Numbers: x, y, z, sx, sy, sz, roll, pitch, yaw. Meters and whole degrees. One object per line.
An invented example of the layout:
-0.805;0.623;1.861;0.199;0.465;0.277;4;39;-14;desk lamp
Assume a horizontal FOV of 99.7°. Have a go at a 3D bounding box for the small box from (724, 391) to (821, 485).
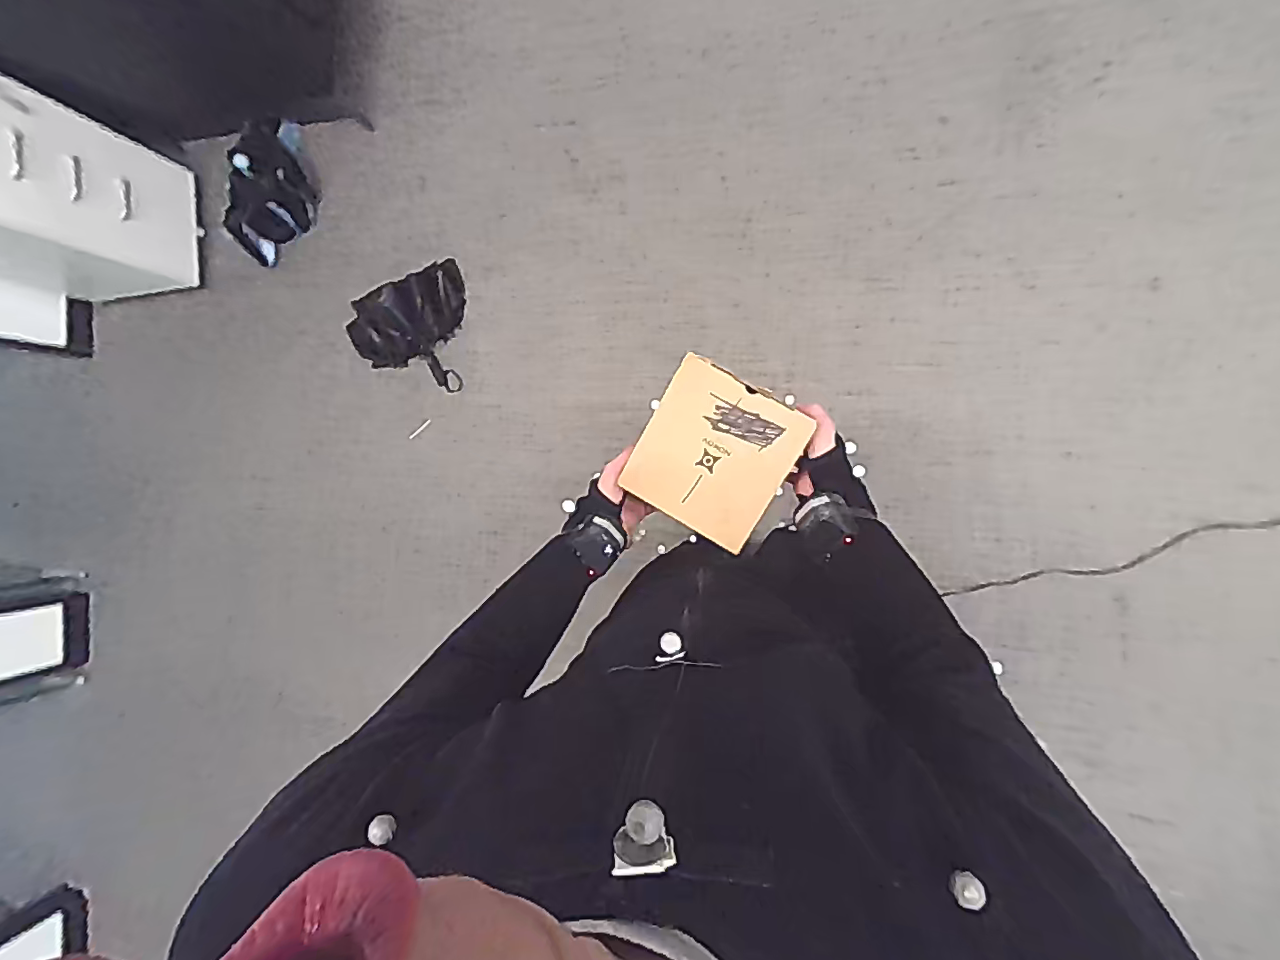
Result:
0.342;-0.104;1.401;0.179;0.176;0.168;45;103;9;small box
